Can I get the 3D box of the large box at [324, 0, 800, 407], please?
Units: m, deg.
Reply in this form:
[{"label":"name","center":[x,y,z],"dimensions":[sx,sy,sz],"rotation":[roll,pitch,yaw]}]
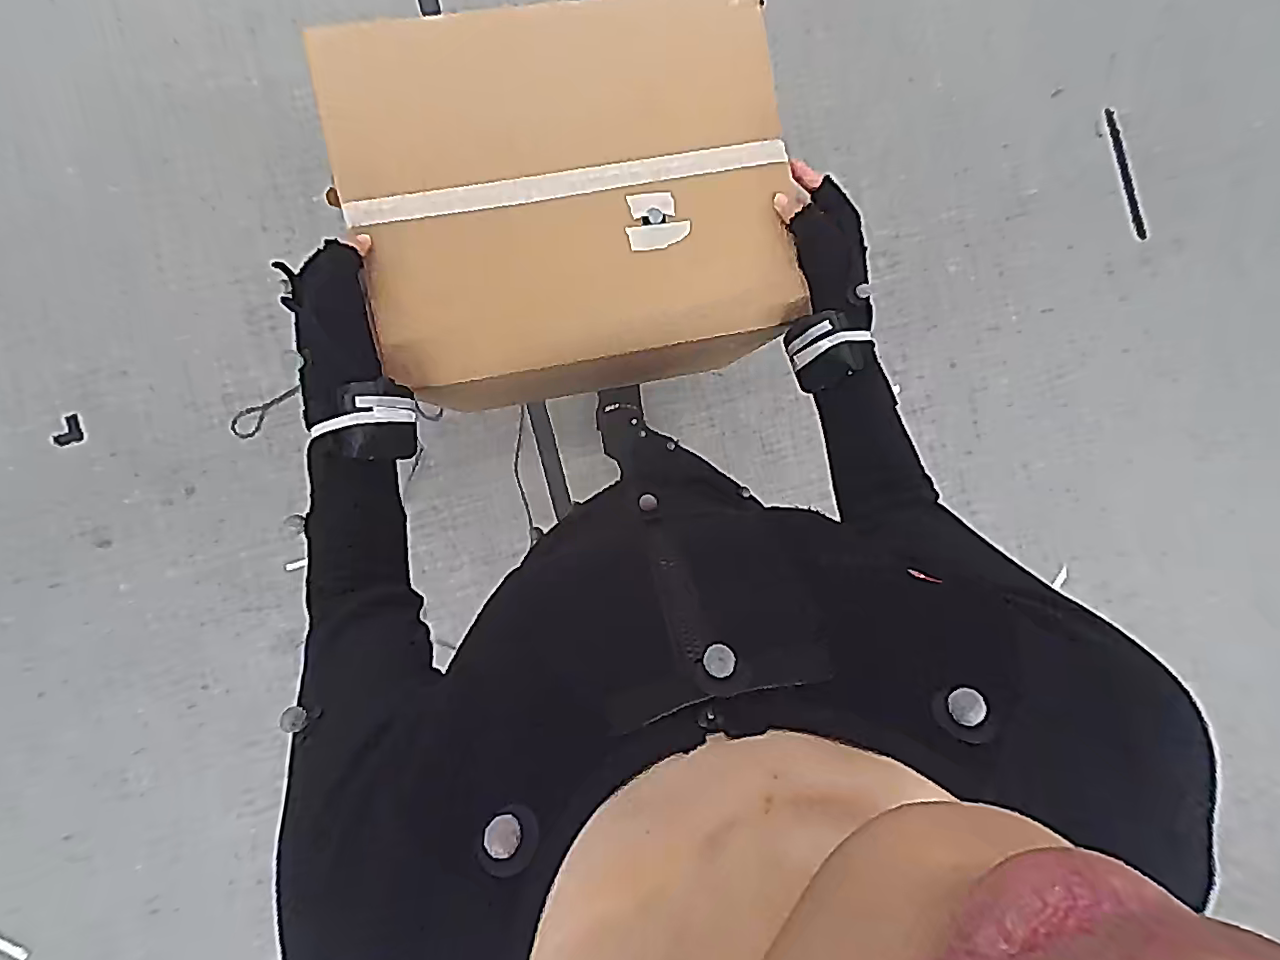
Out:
[{"label":"large box","center":[-0.079,-0.288,0.657],"dimensions":[0.408,0.320,0.320],"rotation":[-12,95,-6]}]
